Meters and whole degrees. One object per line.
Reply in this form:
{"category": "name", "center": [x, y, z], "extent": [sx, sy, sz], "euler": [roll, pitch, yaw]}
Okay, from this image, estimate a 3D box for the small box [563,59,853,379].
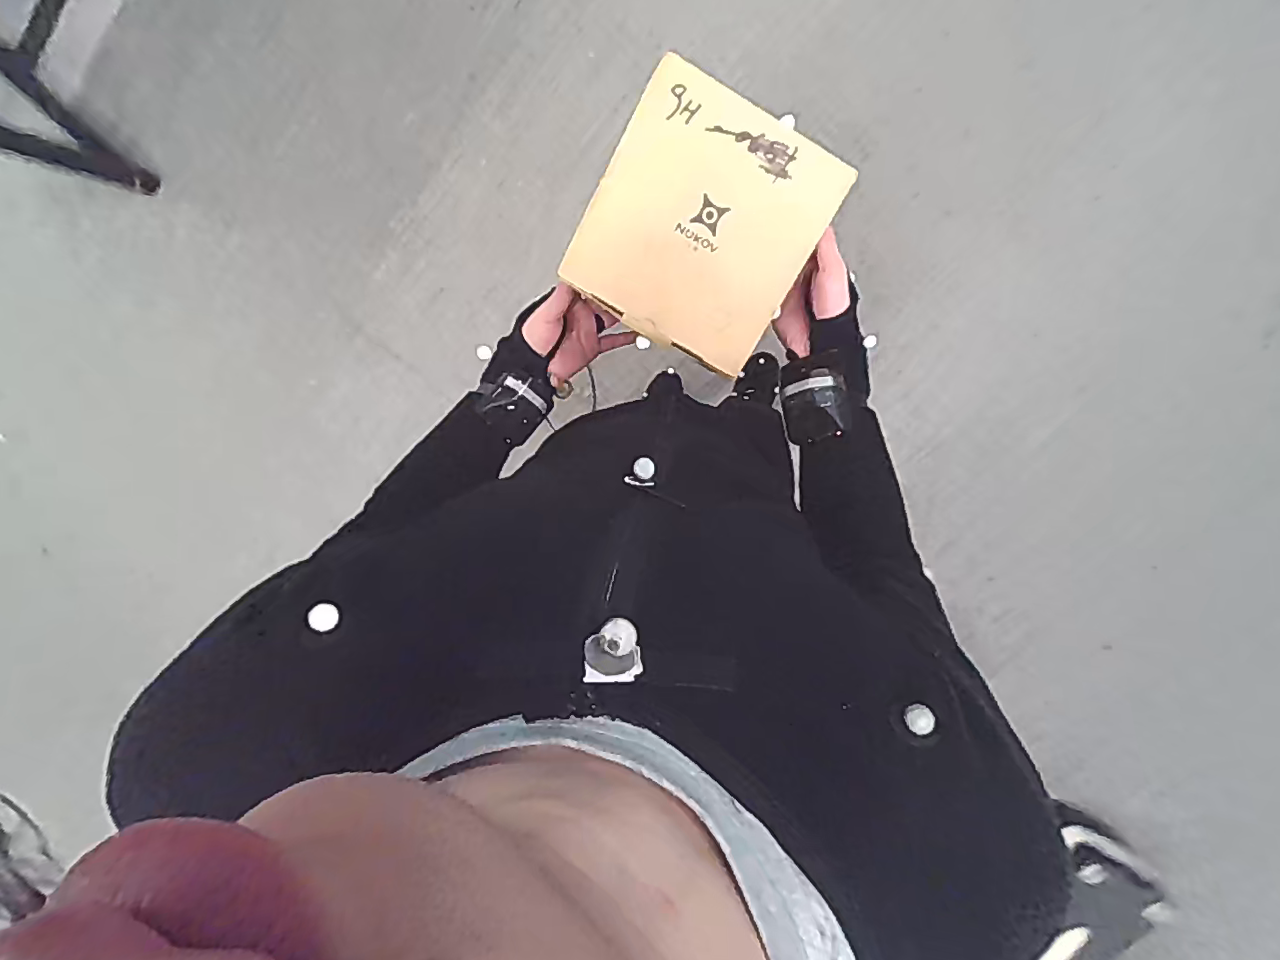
{"category": "small box", "center": [0.053, -0.212, 0.491], "extent": [0.168, 0.176, 0.179], "euler": [28, 104, -5]}
